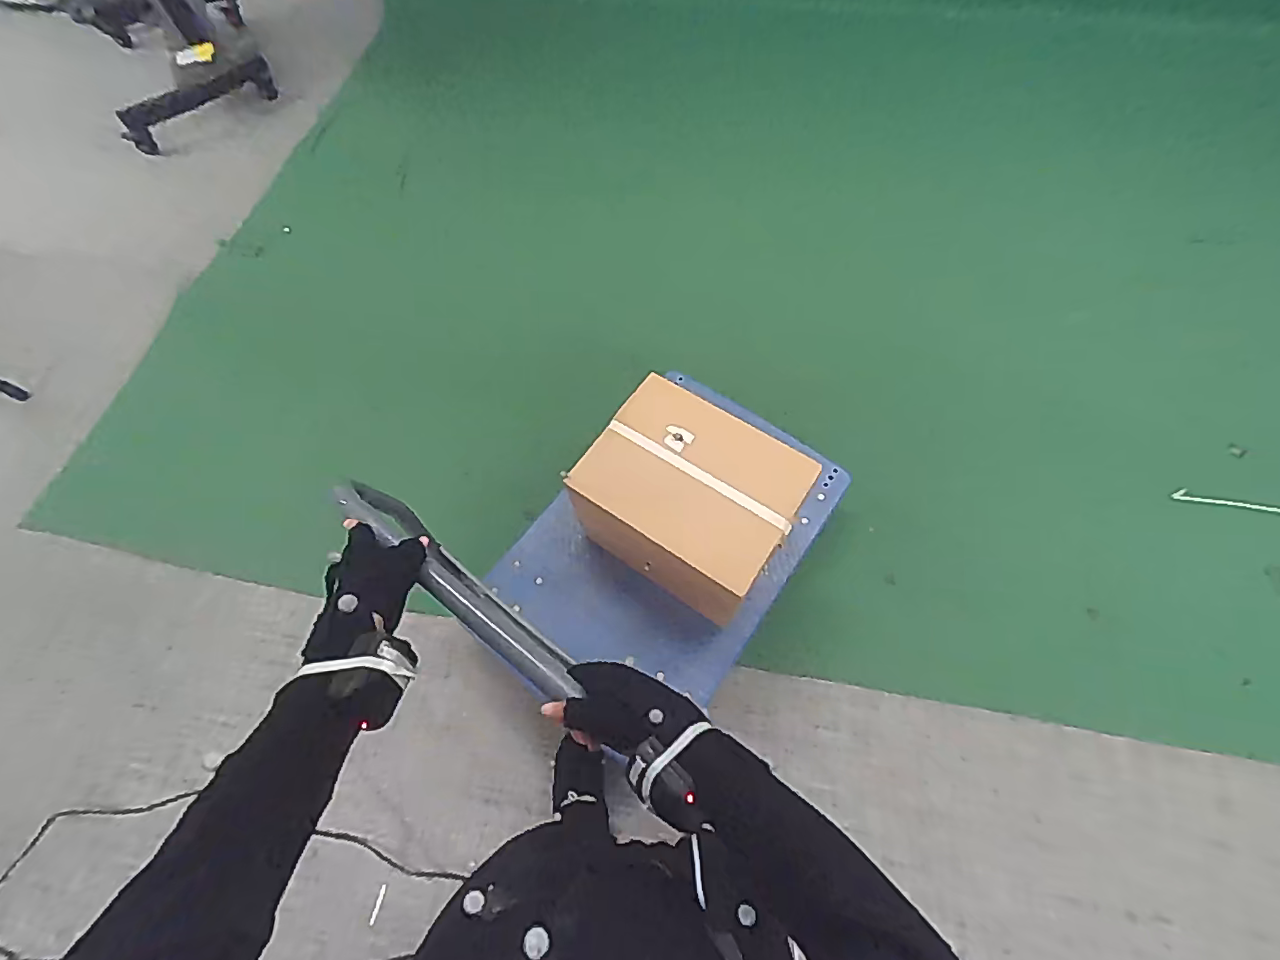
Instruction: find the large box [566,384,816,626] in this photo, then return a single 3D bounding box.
[{"bbox_3d":[0.109,0.066,1.194,0.408,0.320,0.320,31,69,16],"label":"large box"}]
